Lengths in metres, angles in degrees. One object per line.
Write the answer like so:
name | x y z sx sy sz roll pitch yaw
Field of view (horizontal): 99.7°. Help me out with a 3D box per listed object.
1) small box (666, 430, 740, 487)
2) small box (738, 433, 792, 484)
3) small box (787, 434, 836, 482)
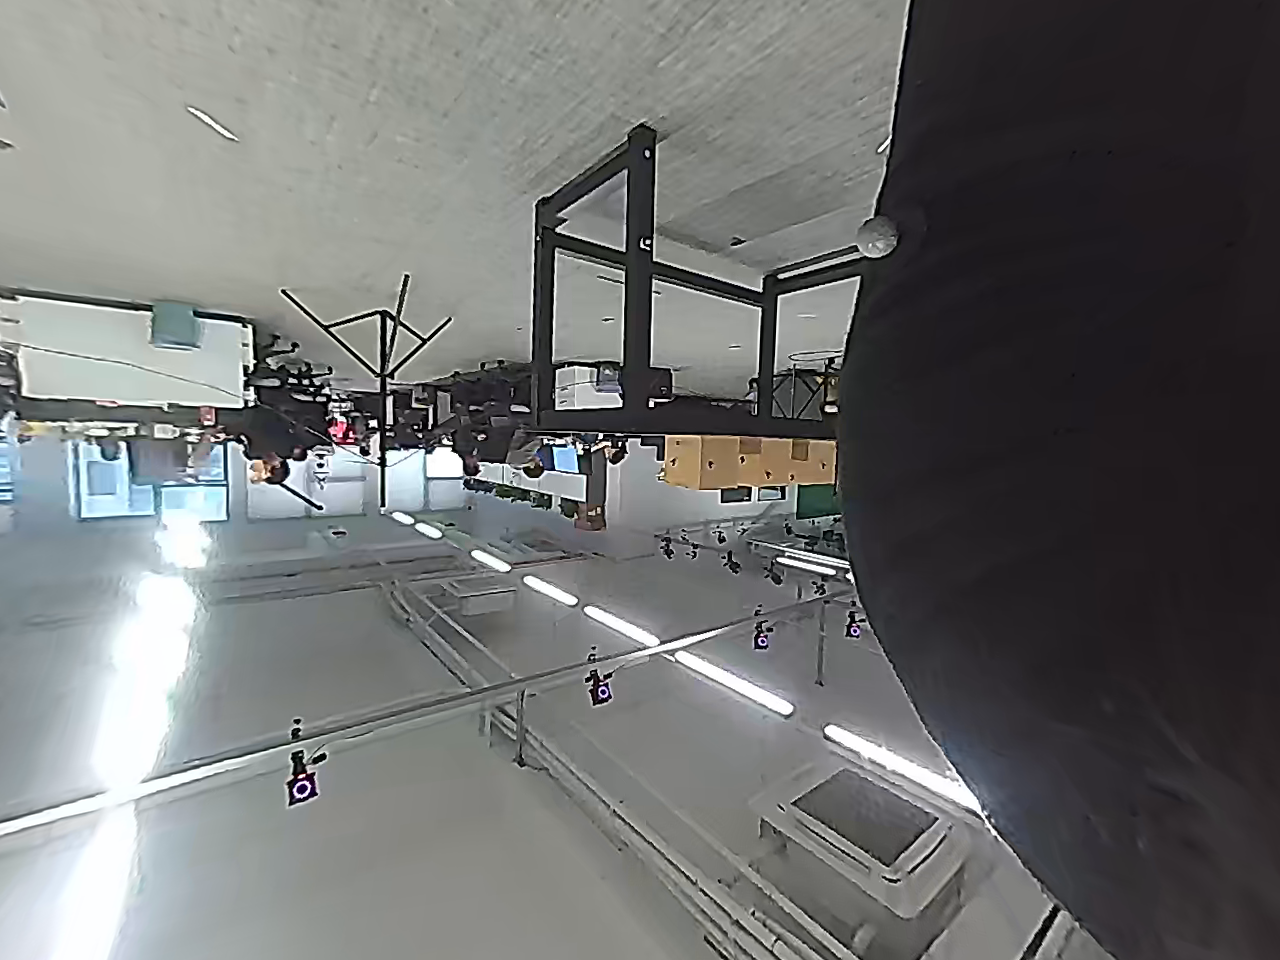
small box | 0.200 -0.073 1.726 0.179 0.176 0.168 -3 -172 -38
small box | 0.414 -0.078 1.897 0.179 0.176 0.168 -2 -173 -39
small box | 0.631 -0.087 2.063 0.179 0.176 0.168 -2 -174 -36
